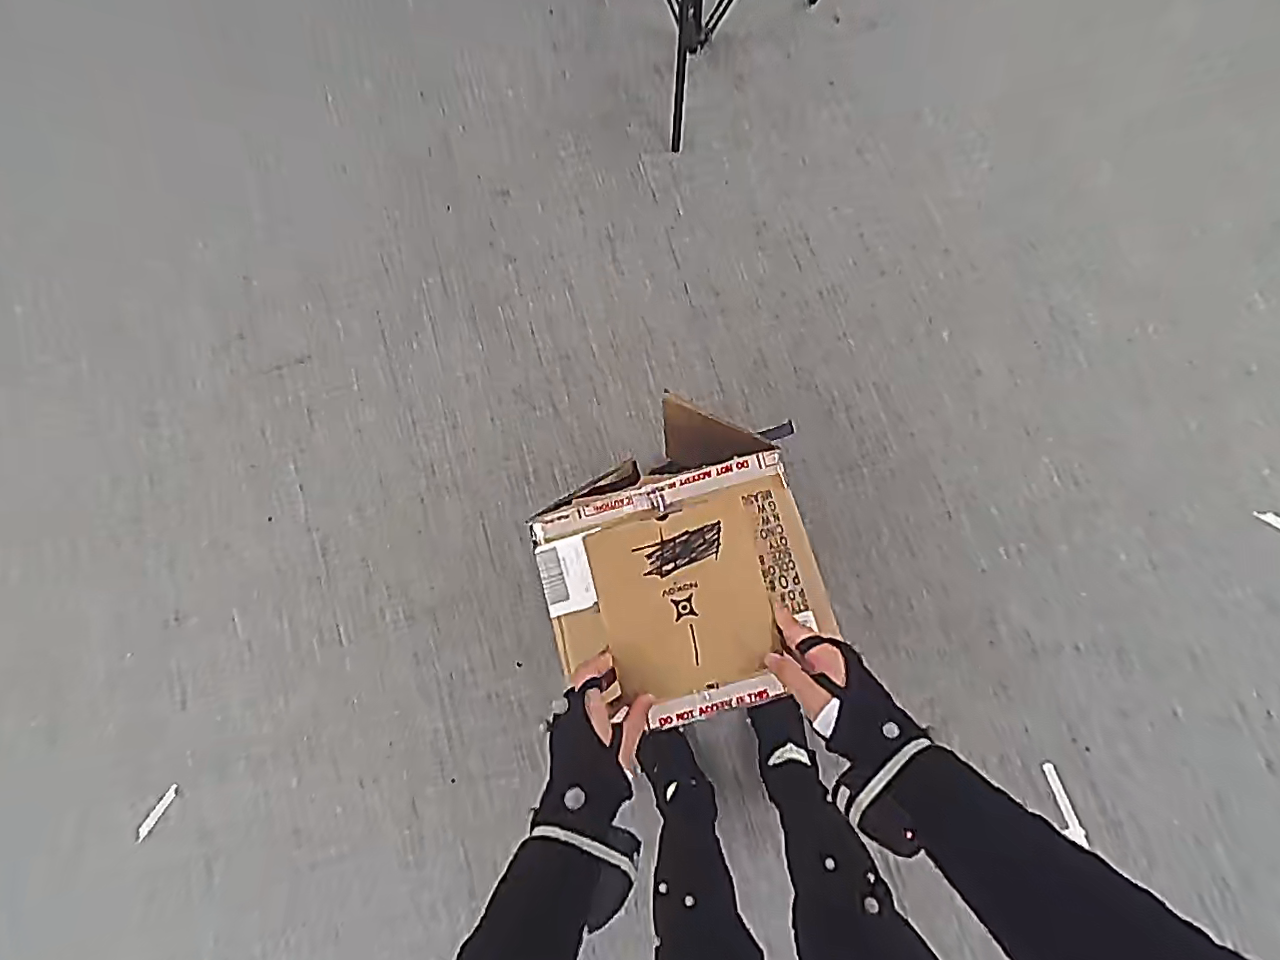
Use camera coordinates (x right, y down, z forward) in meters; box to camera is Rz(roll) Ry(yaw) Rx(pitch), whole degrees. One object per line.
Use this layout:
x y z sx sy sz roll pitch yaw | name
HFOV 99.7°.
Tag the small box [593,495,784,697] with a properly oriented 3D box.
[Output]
0.048 0.132 0.631 0.168 0.176 0.179 -14 79 -1 | small box
